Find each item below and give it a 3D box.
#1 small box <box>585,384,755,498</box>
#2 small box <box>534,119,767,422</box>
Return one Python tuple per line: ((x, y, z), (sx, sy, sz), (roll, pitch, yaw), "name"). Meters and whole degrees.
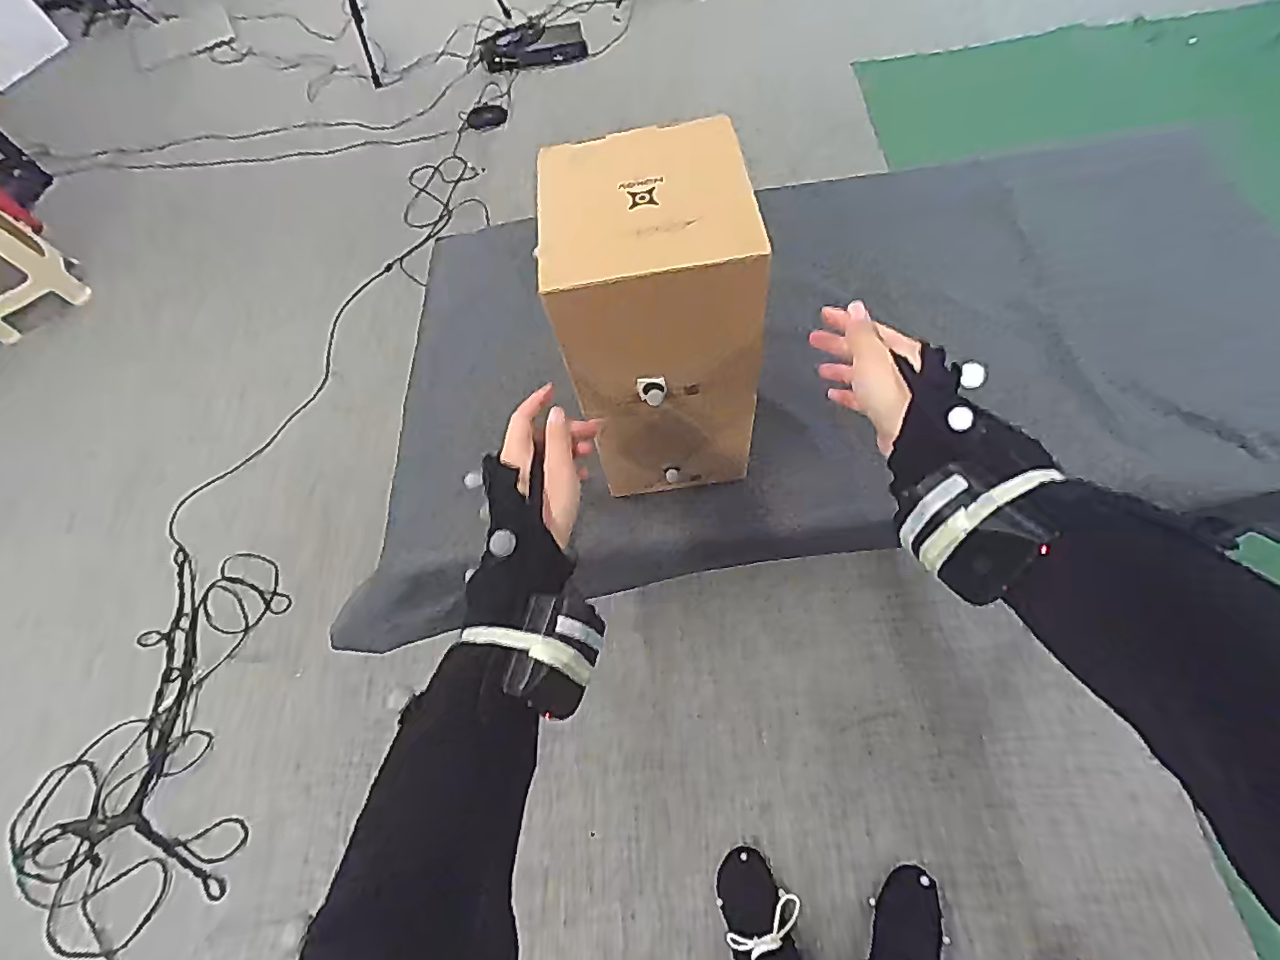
((0.029, -0.100, 0.624), (0.168, 0.176, 0.179), (-8, 62, 3), "small box")
((0.008, -0.176, 0.481), (0.168, 0.176, 0.179), (-8, 62, 4), "small box")
